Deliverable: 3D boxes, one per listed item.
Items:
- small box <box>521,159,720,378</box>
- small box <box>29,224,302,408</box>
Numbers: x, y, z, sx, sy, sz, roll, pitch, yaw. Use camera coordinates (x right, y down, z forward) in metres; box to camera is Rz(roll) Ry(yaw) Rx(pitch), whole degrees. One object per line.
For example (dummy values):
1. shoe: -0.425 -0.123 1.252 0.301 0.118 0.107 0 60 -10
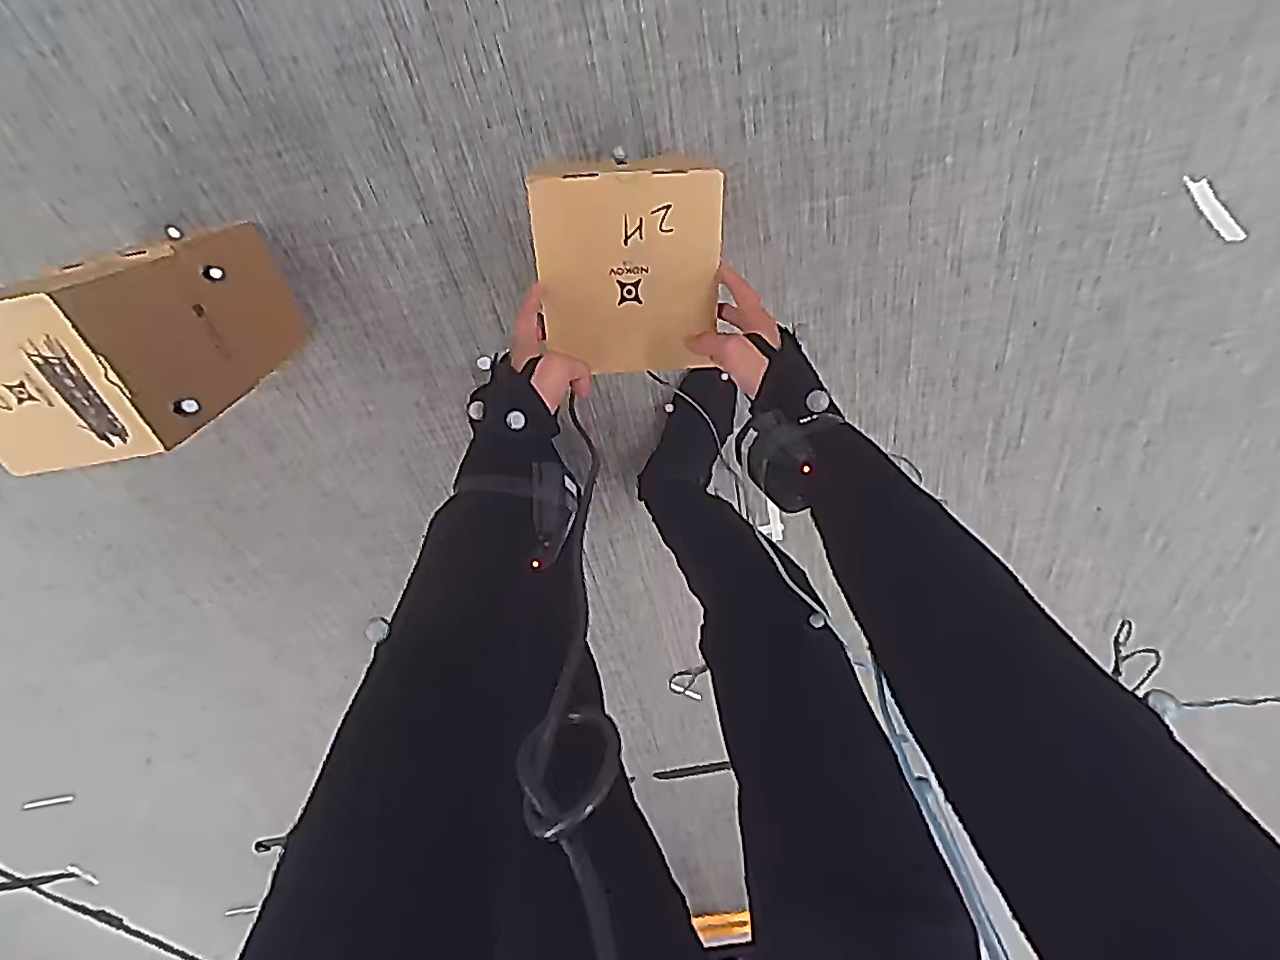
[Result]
1. small box: -0.022 -0.220 0.551 0.168 0.176 0.179 -4 123 -5
2. small box: -0.593 -0.219 0.712 0.168 0.176 0.179 -10 123 3
